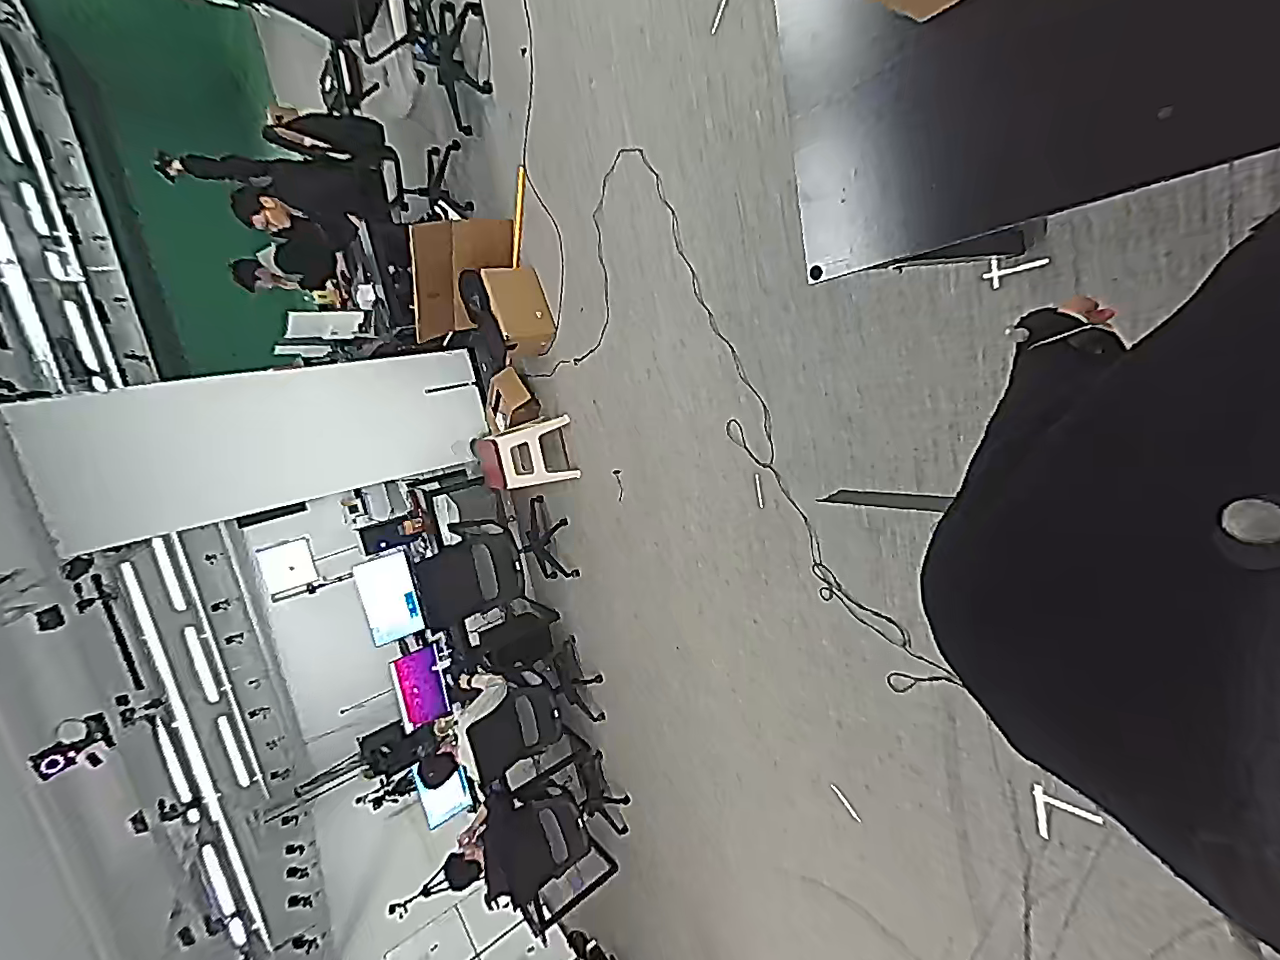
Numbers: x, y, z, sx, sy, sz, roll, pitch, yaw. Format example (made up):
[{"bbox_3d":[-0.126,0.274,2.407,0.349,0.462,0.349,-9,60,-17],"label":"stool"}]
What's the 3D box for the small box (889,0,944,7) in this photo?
[{"bbox_3d":[0.326,-0.633,0.552,0.168,0.176,0.179,8,111,53],"label":"small box"}]
